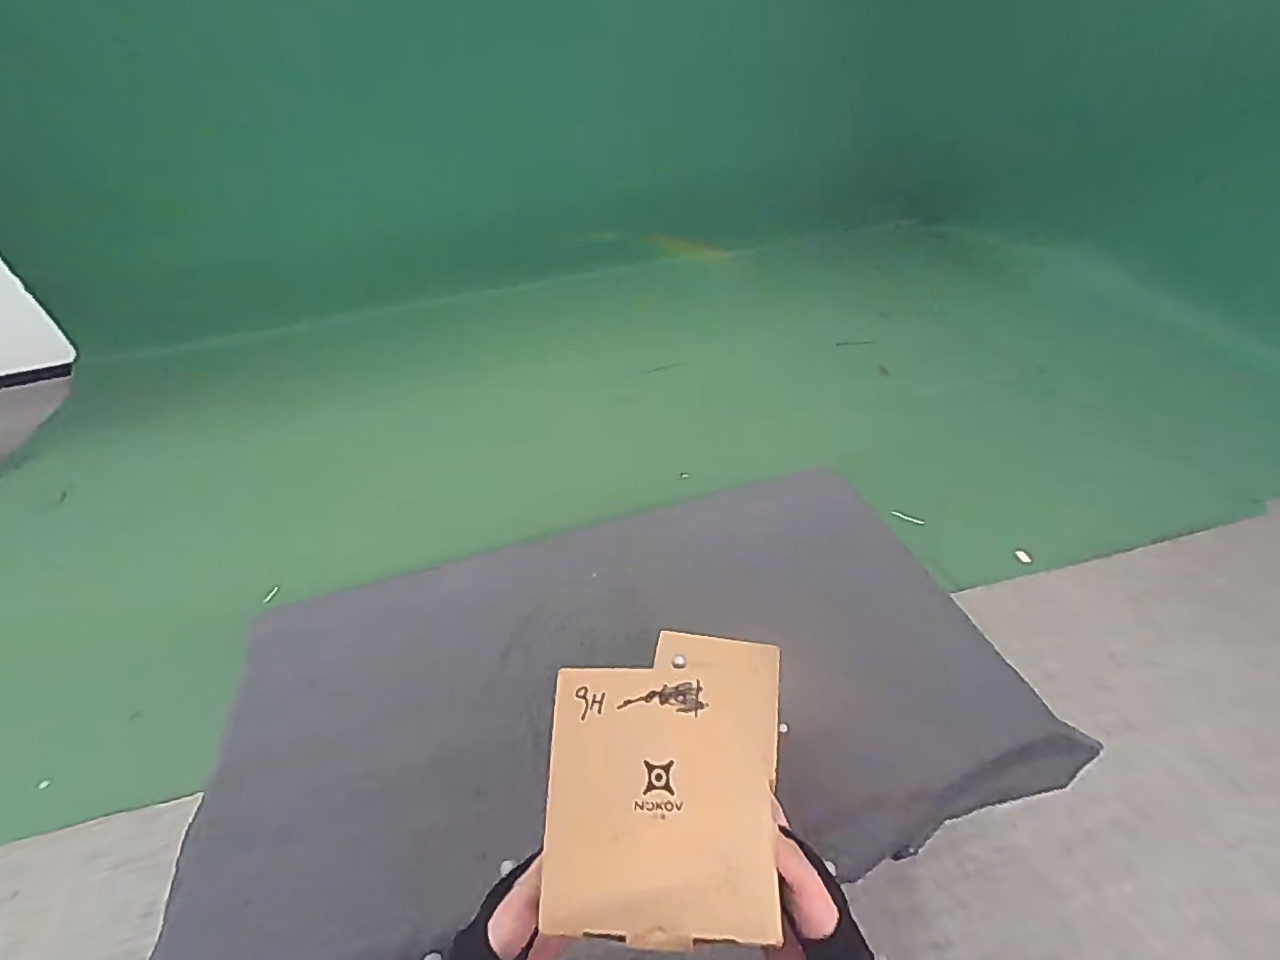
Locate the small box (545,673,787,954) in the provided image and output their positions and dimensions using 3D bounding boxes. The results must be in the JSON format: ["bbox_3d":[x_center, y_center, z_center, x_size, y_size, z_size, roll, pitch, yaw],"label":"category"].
[{"bbox_3d":[0.023,0.269,0.467,0.168,0.176,0.179,-1,62,3],"label":"small box"}]

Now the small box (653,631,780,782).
[{"bbox_3d":[0.099,0.336,0.735,0.168,0.176,0.179,5,42,11],"label":"small box"}]
